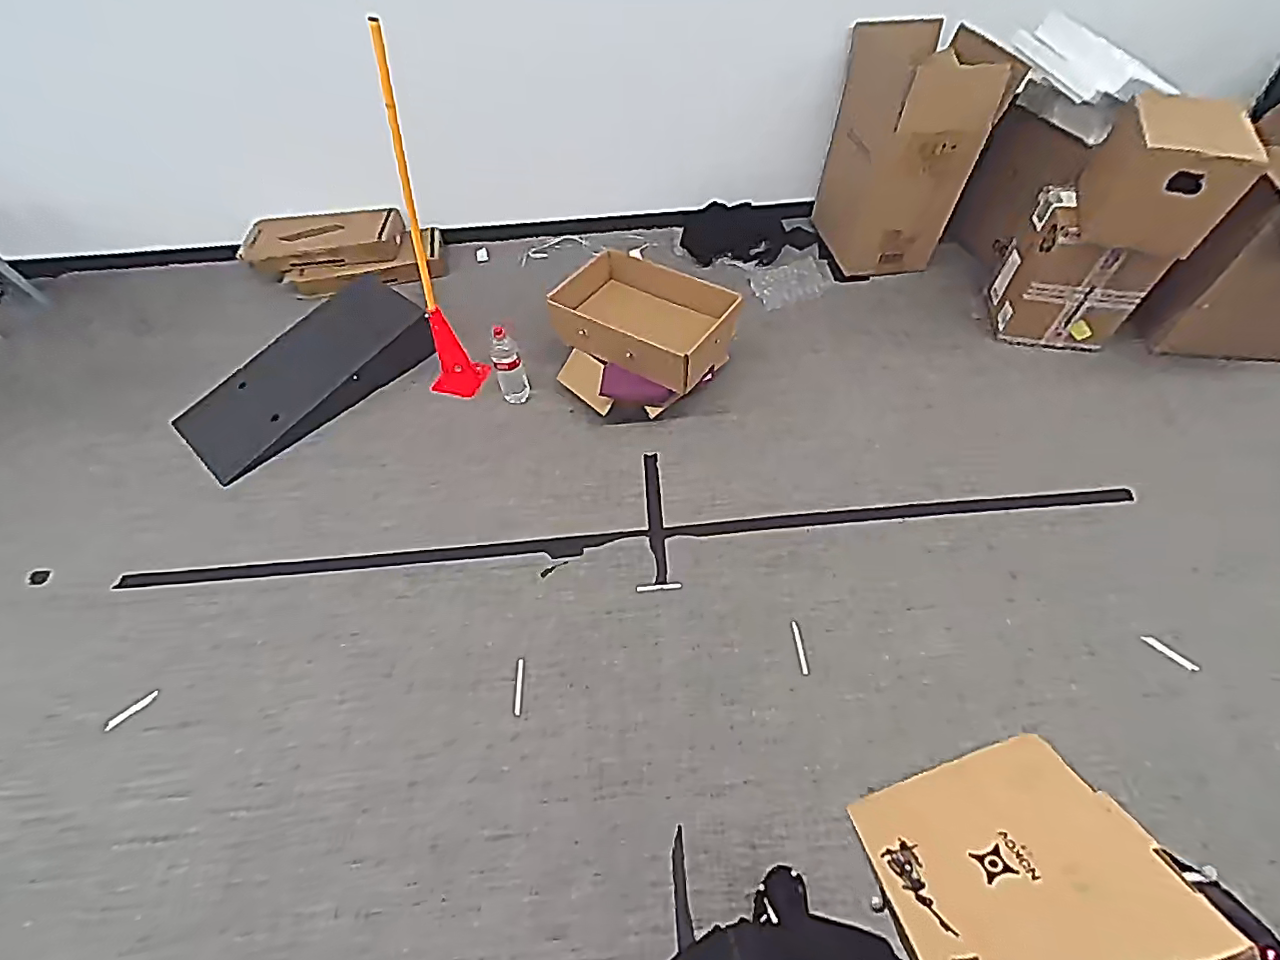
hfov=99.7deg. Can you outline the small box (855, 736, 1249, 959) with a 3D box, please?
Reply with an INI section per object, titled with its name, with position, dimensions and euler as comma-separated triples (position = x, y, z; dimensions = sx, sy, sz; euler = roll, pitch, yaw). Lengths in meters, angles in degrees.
[small box]
position = 0.302, 0.348, 0.421
dimensions = 0.179, 0.176, 0.168
euler = -23, 17, 4
